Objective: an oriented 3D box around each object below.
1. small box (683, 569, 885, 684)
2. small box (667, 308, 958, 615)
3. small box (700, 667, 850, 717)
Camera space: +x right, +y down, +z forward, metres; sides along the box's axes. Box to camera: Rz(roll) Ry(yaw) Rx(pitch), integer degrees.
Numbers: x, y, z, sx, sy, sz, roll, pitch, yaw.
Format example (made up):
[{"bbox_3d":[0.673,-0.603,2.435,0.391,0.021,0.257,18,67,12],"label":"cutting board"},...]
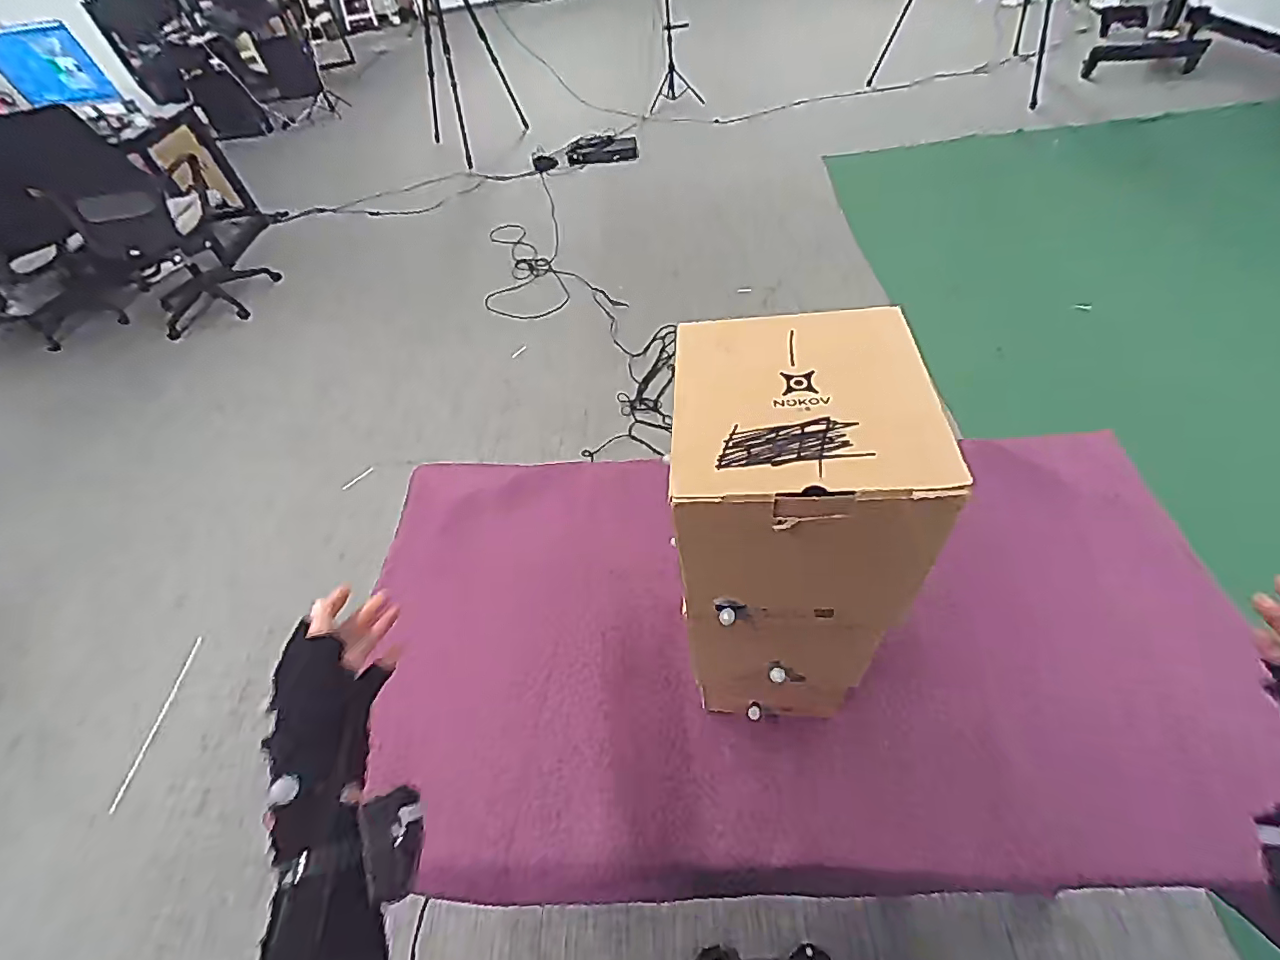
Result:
[{"bbox_3d":[0.134,0.090,0.554,0.168,0.176,0.179,-2,50,9],"label":"small box"},{"bbox_3d":[0.116,-0.007,0.423,0.168,0.176,0.179,-2,50,9],"label":"small box"},{"bbox_3d":[0.162,0.181,0.688,0.168,0.176,0.179,-1,51,10],"label":"small box"}]
